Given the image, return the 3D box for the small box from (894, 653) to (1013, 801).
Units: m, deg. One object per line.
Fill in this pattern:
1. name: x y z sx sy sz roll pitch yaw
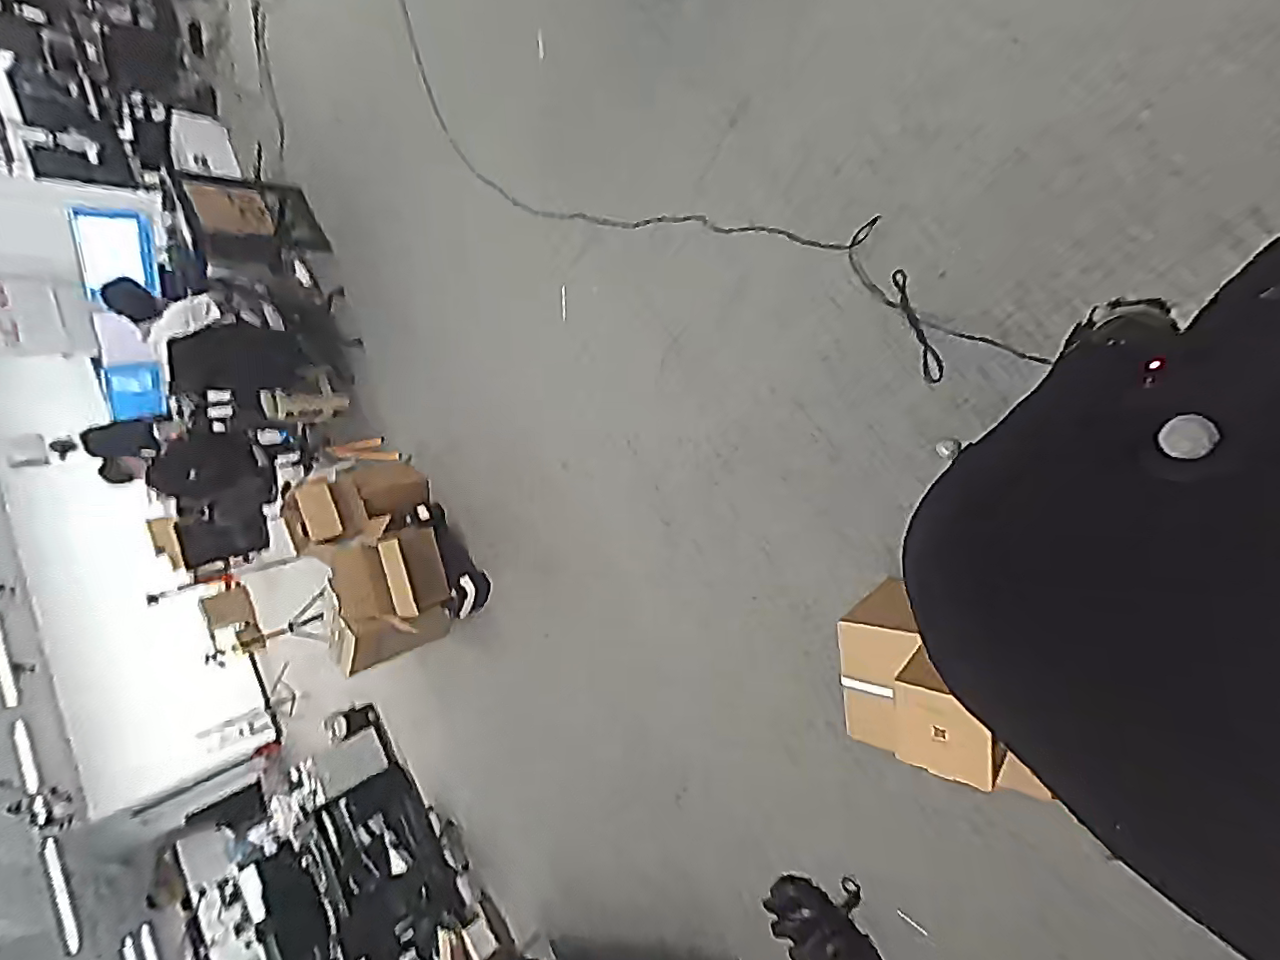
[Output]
1. small box: 0.610 0.464 1.048 0.168 0.176 0.179 2 101 44
